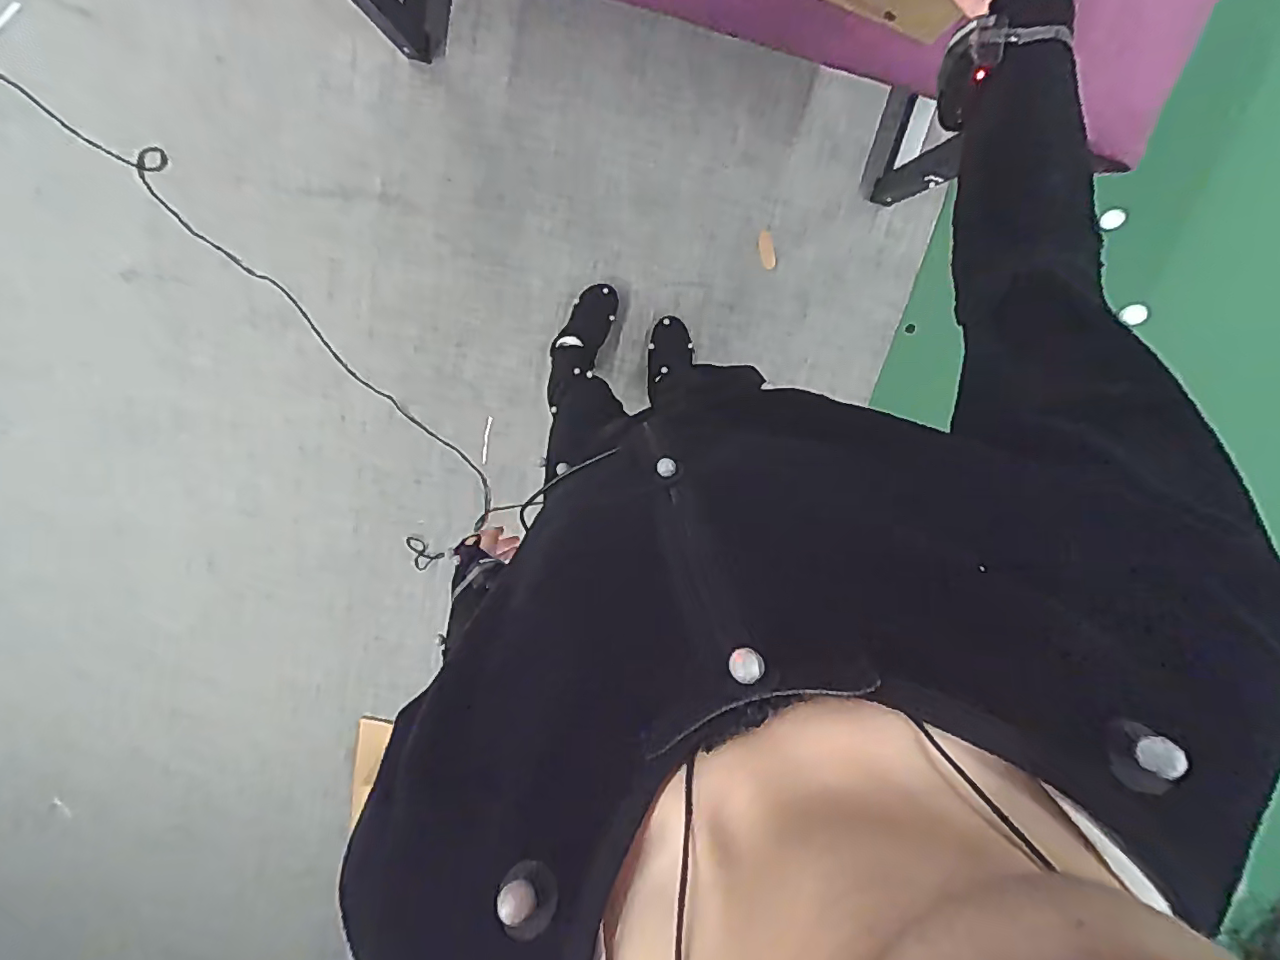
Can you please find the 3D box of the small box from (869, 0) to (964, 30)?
[{"bbox_3d":[0.279,-0.572,0.496,0.168,0.176,0.179,19,107,-6],"label":"small box"}]
